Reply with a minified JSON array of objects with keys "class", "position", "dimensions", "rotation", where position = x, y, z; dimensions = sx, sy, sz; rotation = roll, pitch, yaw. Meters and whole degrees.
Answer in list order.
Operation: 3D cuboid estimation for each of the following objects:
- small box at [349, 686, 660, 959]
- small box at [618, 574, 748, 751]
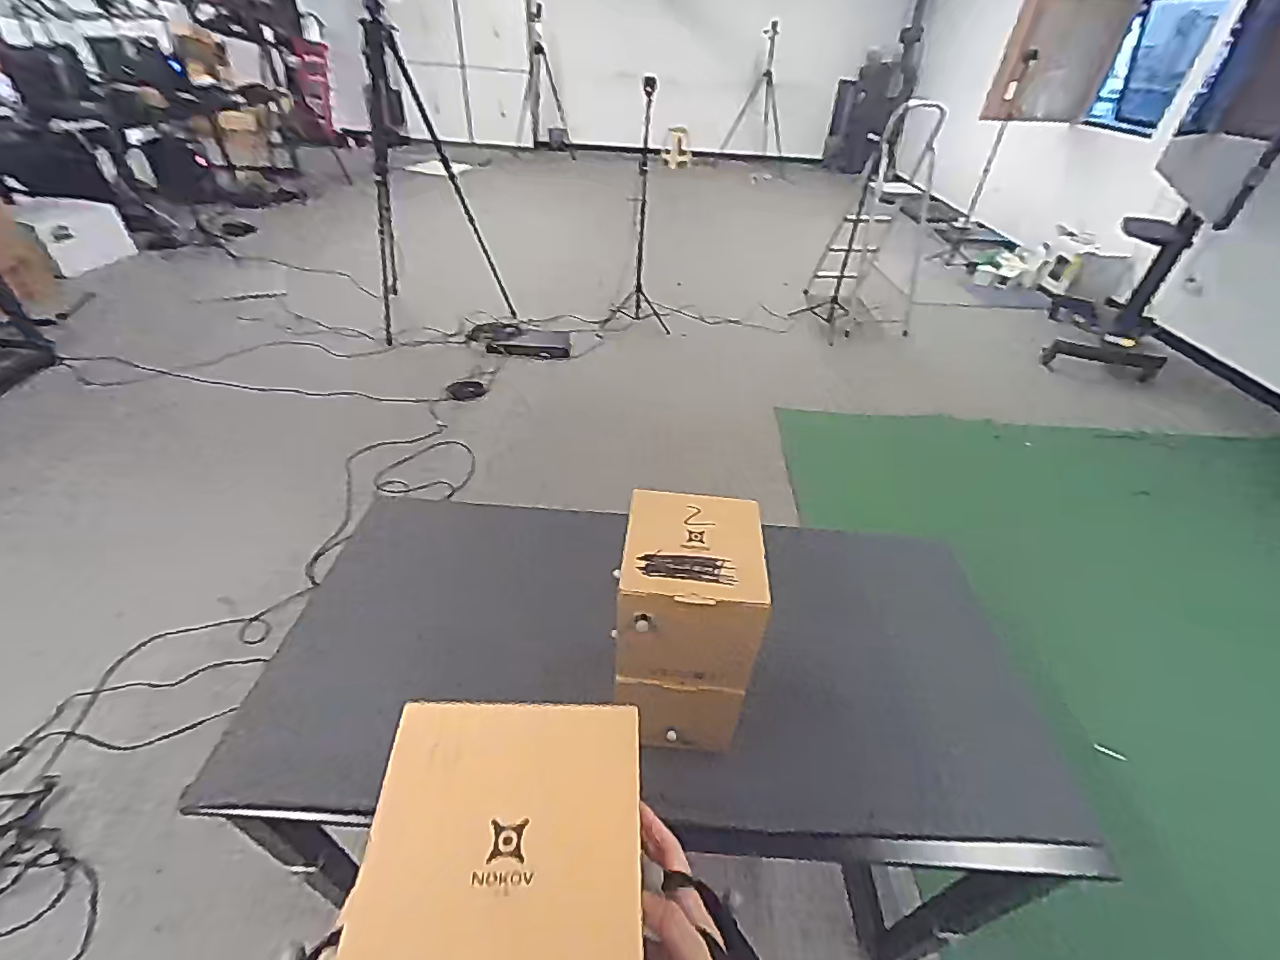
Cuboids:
[{"class":"small box","position":[-0.080,0.267,0.384],"dimensions":[0.168,0.176,0.179],"rotation":[3,47,-5]},{"class":"small box","position":[0.057,0.264,0.792],"dimensions":[0.168,0.176,0.179],"rotation":[4,39,1]}]
